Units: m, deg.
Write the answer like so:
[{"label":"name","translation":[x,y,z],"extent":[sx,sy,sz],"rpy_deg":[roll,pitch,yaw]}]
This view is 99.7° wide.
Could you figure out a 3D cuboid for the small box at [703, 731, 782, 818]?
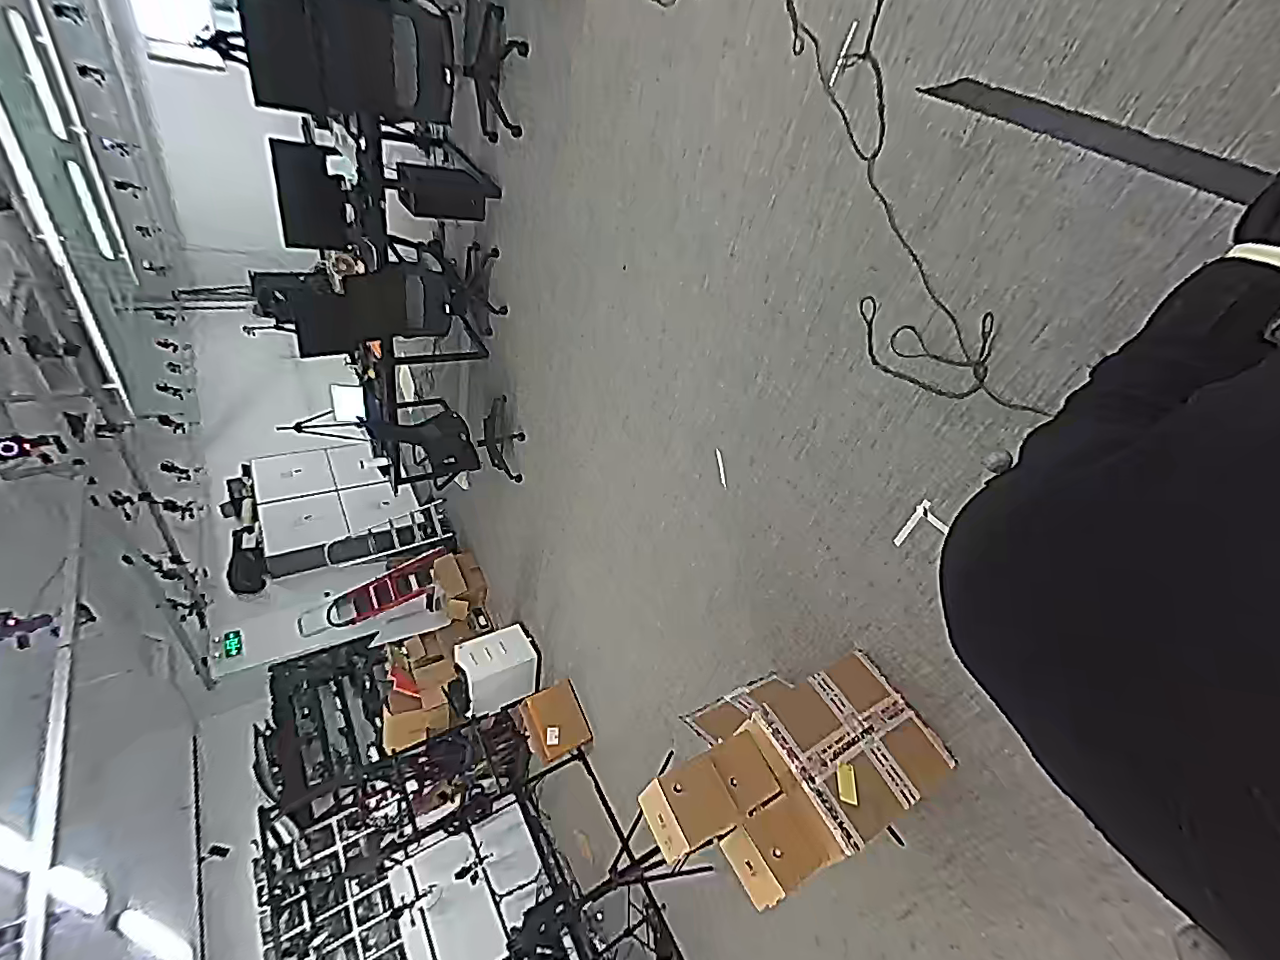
[{"label":"small box","translation":[0.267,0.845,1.523],"extent":[0.179,0.176,0.168],"rpy_deg":[59,143,31]}]

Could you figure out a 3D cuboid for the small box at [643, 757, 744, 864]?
[{"label":"small box","translation":[0.138,0.856,1.419],"extent":[0.179,0.176,0.168],"rpy_deg":[56,142,33]}]
